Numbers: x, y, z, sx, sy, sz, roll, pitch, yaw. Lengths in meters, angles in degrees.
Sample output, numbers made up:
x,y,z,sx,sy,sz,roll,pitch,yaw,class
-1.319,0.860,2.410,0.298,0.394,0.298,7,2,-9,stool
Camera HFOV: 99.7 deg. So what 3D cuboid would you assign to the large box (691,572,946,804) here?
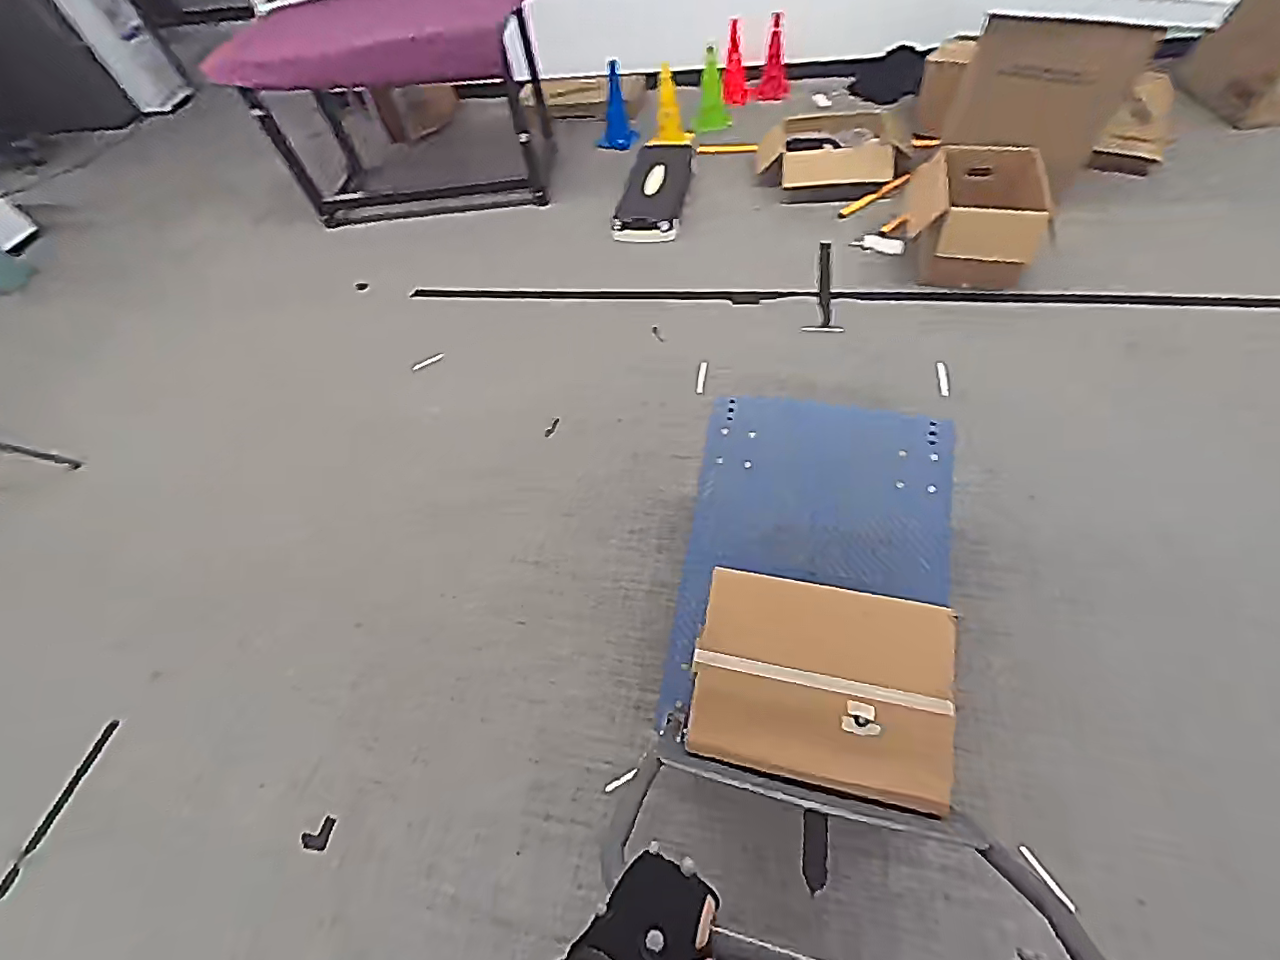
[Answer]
x,y,z,sx,sy,sz,roll,pitch,yaw,class
0.322,0.383,1.054,0.408,0.320,0.320,8,74,11,large box
